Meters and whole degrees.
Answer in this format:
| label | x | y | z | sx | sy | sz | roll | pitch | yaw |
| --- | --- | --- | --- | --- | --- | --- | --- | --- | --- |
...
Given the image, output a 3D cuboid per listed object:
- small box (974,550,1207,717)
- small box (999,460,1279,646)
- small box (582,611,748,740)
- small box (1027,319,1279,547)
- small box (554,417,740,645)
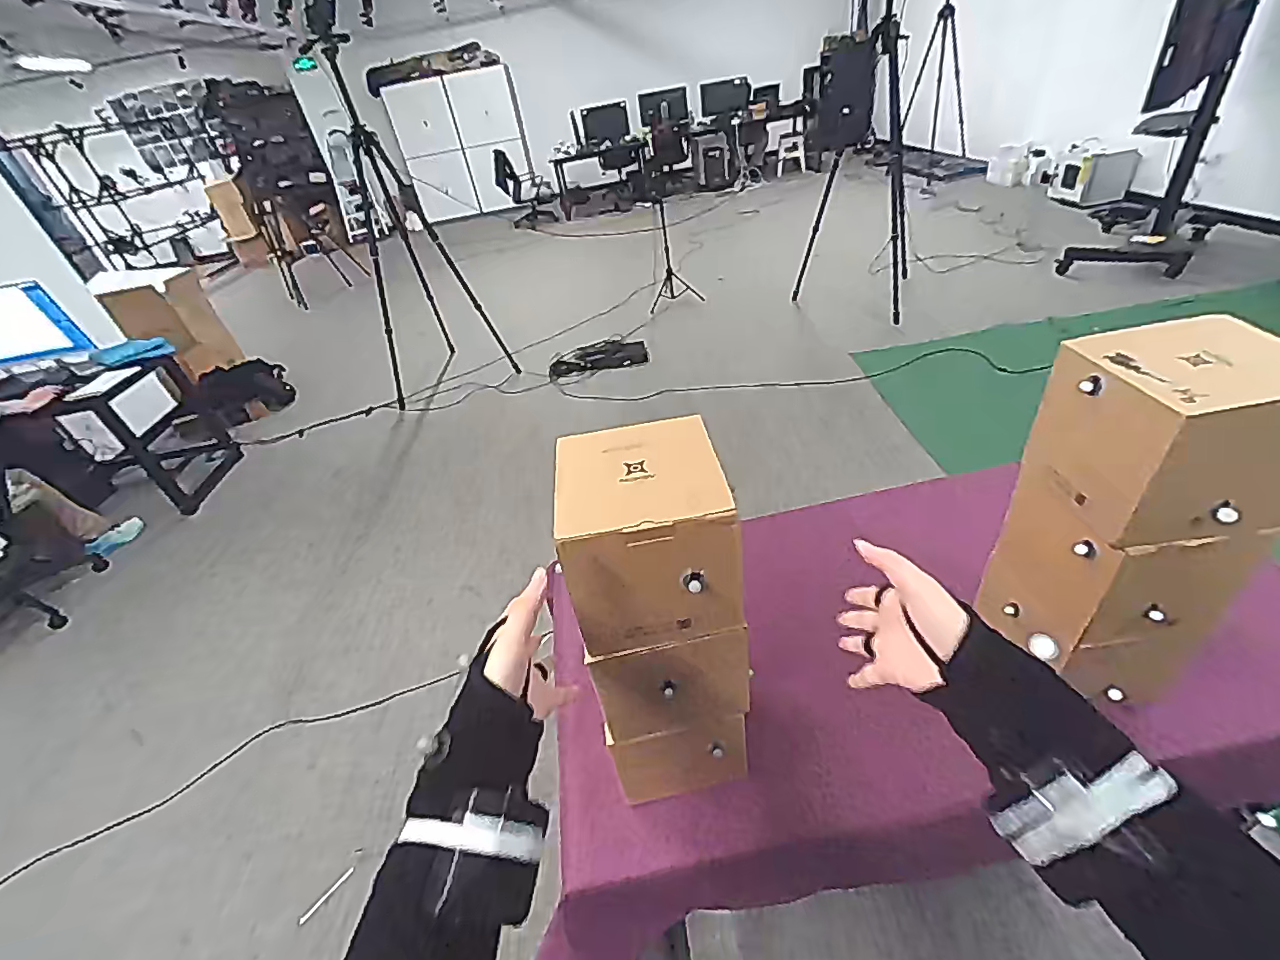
| label | x | y | z | sx | sy | sz | roll | pitch | yaw |
| --- | --- | --- | --- | --- | --- | --- | --- | --- | --- |
| small box | 0.616 | 0.206 | 0.774 | 0.168 | 0.176 | 0.179 | -11 | 37 | 2 |
| small box | 0.593 | 0.078 | 0.676 | 0.168 | 0.176 | 0.179 | -10 | 38 | 2 |
| small box | 0.027 | 0.192 | 0.673 | 0.179 | 0.176 | 0.168 | -13 | 37 | -2 |
| small box | 0.566 | -0.049 | 0.575 | 0.179 | 0.176 | 0.168 | -8 | 37 | 3 |
| small box | 0.009 | 0.058 | 0.582 | 0.168 | 0.176 | 0.179 | -9 | 36 | 0 |
